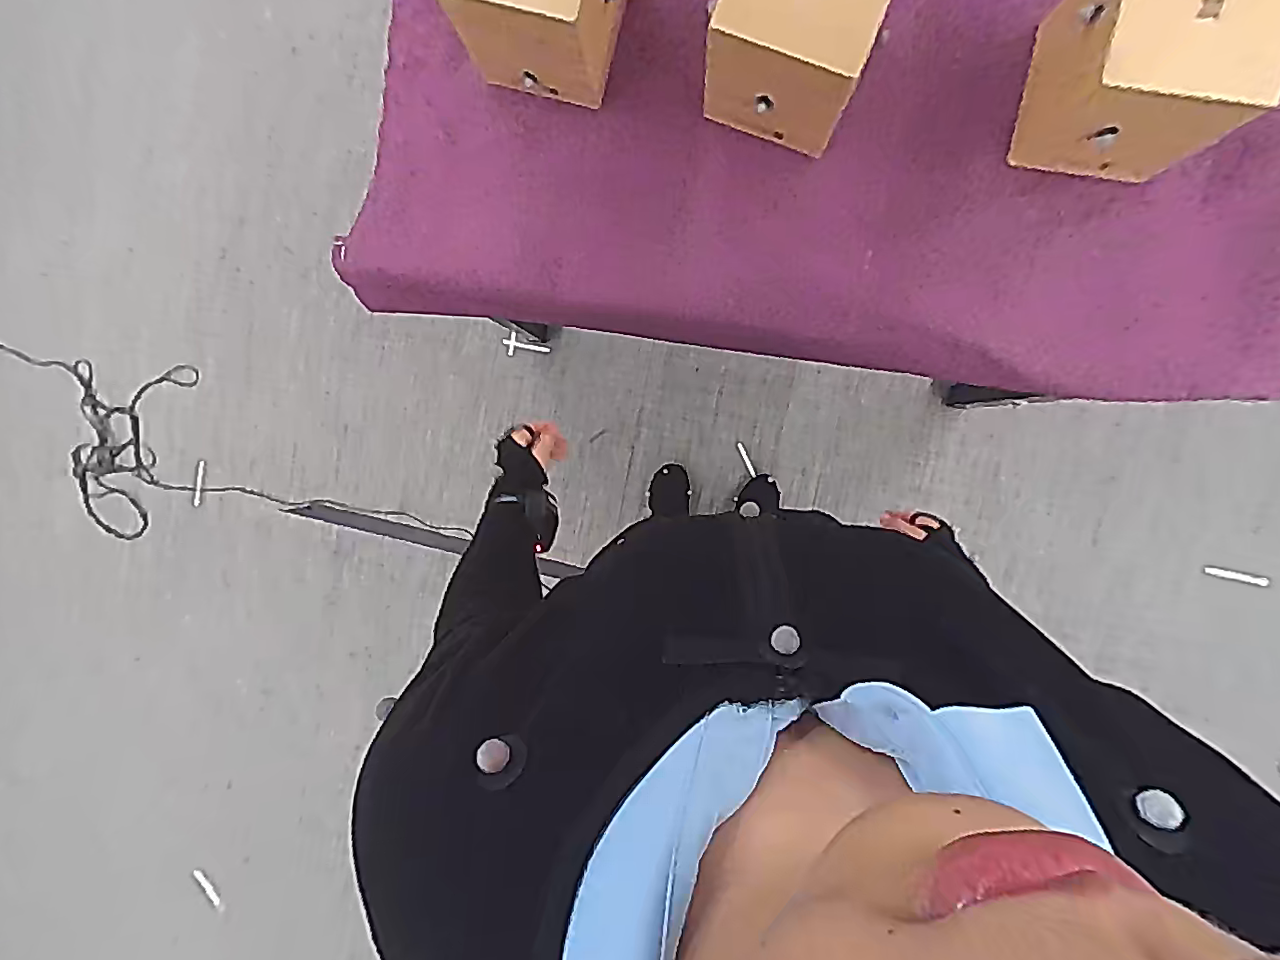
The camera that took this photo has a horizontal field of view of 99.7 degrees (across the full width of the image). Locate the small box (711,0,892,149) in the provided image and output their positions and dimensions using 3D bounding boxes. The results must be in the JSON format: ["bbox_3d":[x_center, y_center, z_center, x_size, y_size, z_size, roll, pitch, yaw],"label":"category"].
[{"bbox_3d":[0.190,-0.530,0.628,0.168,0.176,0.179,23,96,2],"label":"small box"}]

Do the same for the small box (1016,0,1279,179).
[{"bbox_3d":[0.562,-0.468,0.602,0.168,0.176,0.179,12,95,5],"label":"small box"}]
